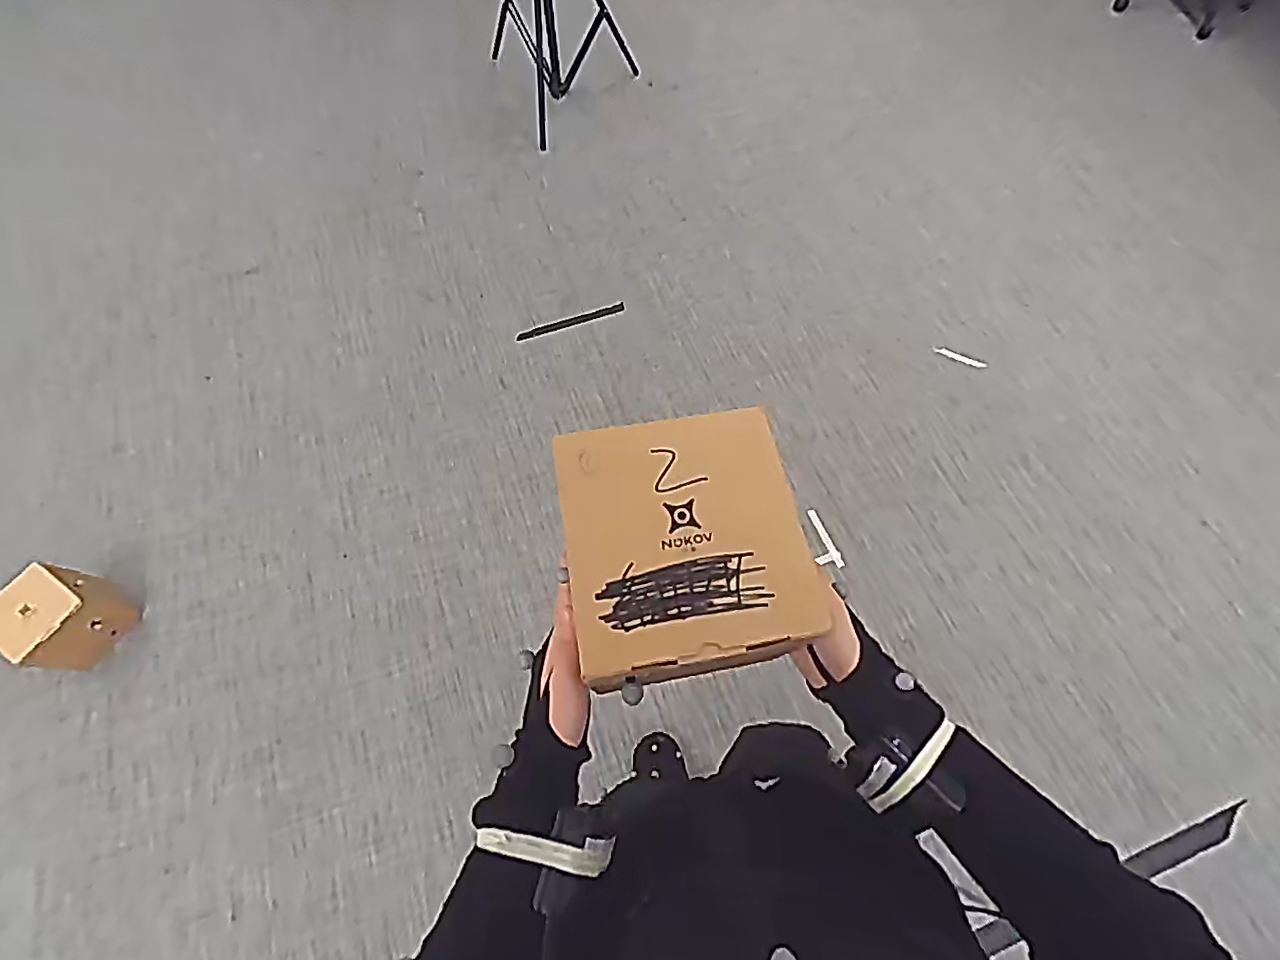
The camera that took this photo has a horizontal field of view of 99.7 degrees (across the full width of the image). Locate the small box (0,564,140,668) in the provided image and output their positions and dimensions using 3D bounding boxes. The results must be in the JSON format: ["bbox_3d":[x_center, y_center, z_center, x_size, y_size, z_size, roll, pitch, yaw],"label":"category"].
[{"bbox_3d":[-1.370,0.329,1.287,0.179,0.176,0.168,30,69,12],"label":"small box"}]
